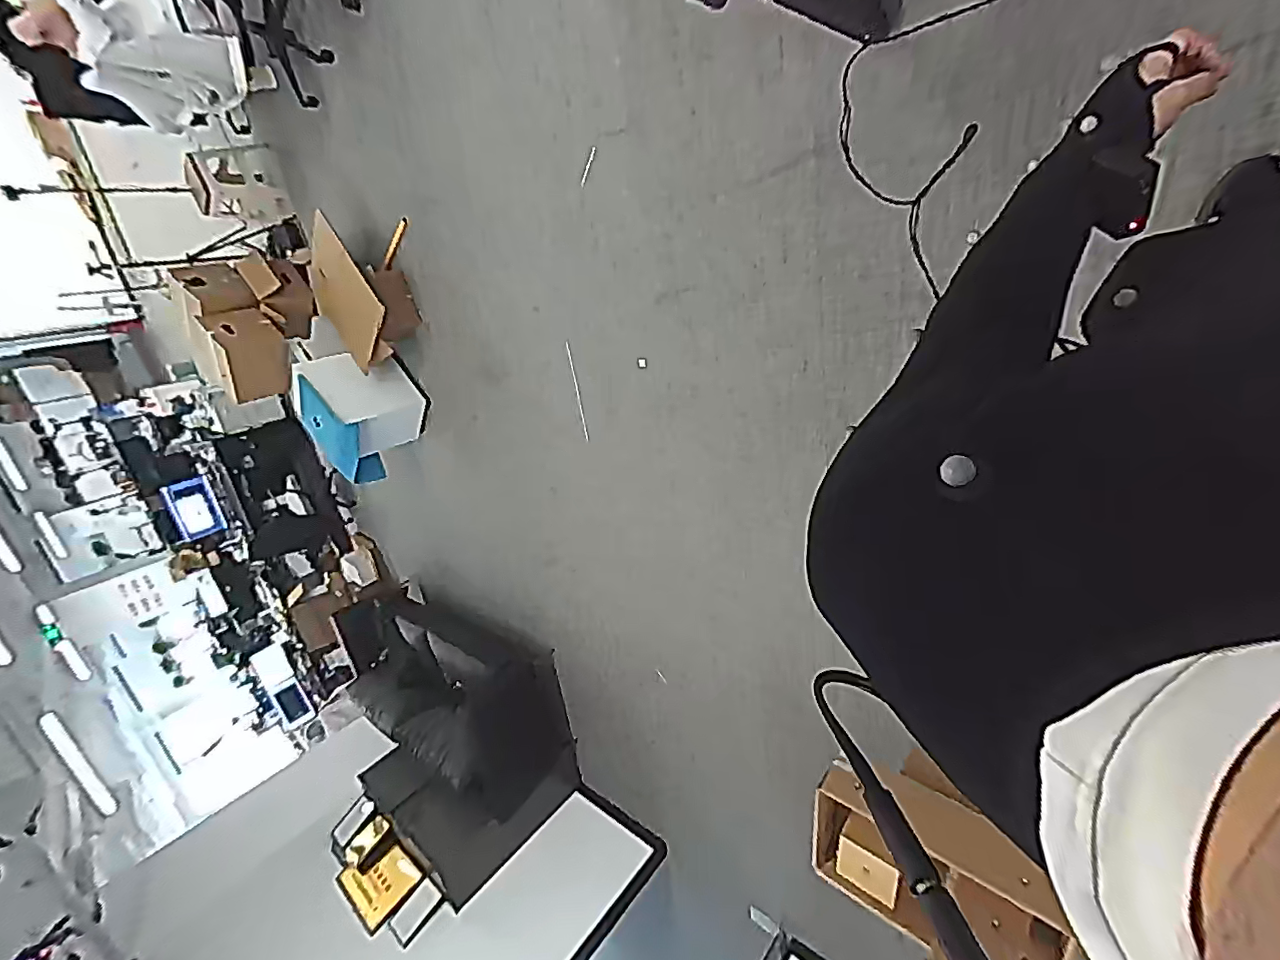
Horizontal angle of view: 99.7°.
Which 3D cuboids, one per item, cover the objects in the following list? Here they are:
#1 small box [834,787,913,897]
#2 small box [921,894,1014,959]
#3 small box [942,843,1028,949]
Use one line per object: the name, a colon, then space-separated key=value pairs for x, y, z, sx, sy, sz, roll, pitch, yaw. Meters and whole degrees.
small box: x=0.696 y=1.067 z=1.610 sx=0.168 sy=0.176 sz=0.179 roll=15 pitch=122 yaw=38
small box: x=0.796 y=1.180 z=1.325 sx=0.168 sy=0.176 sz=0.179 roll=17 pitch=122 yaw=39
small box: x=0.906 y=1.128 z=1.436 sx=0.168 sy=0.176 sz=0.179 roll=17 pitch=123 yaw=37
